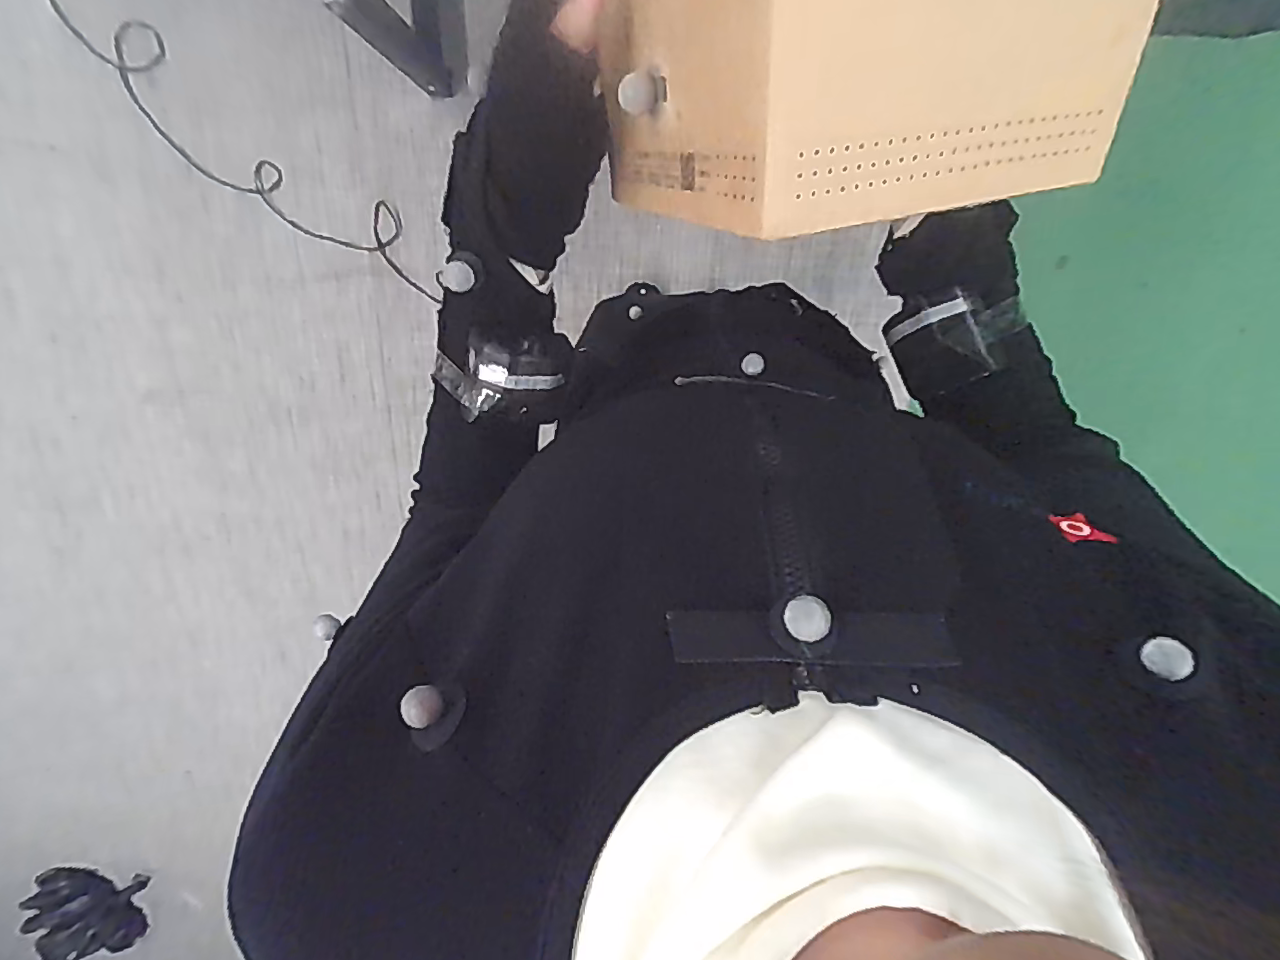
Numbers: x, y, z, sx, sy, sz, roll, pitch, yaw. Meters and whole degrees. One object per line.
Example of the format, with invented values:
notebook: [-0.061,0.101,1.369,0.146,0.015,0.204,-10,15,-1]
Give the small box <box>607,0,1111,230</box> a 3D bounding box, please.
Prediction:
small box: [0.086,-0.227,0.248,0.179,0.168,0.176,-17,125,-14]
